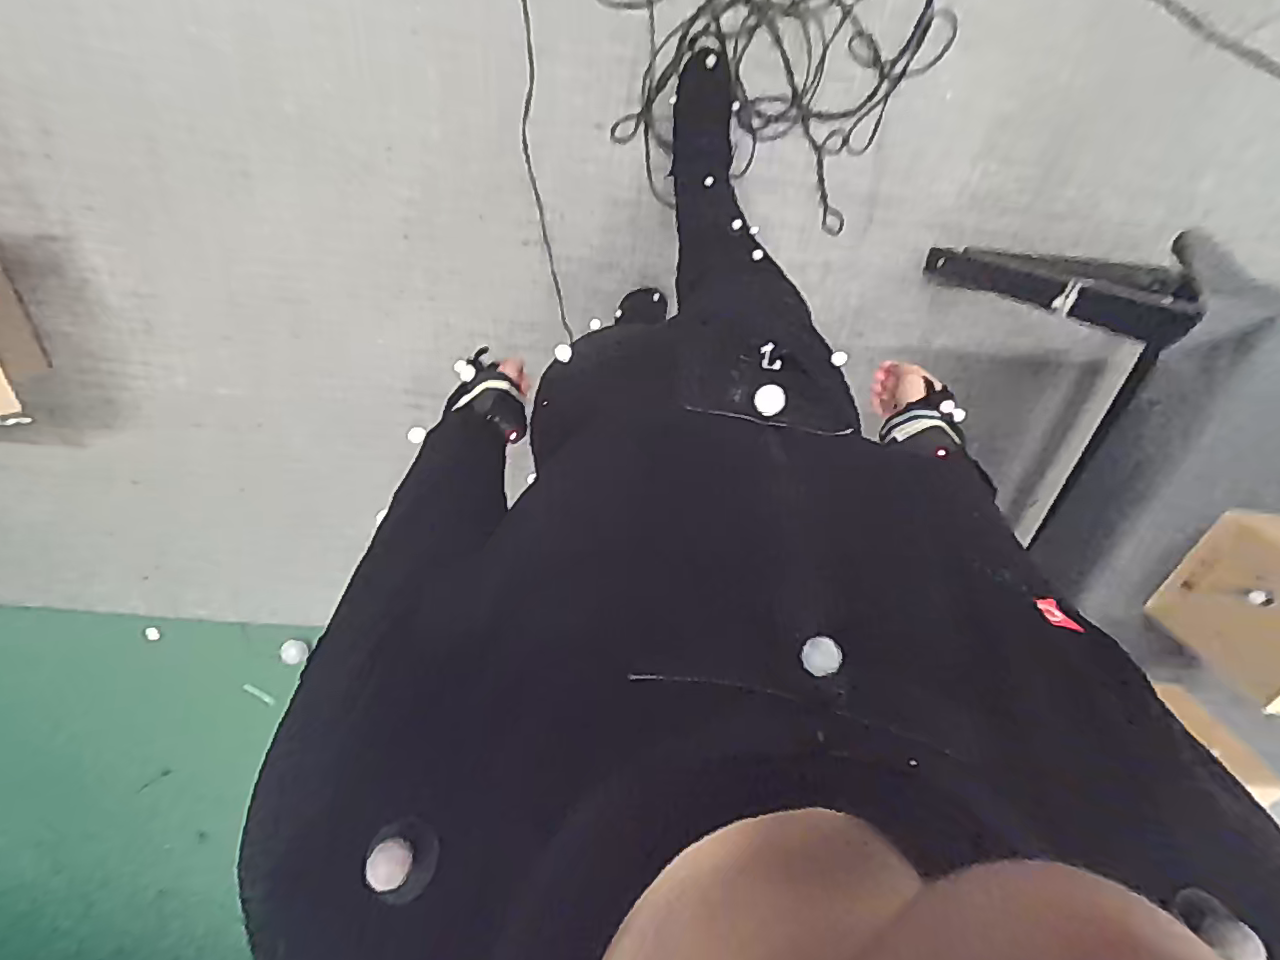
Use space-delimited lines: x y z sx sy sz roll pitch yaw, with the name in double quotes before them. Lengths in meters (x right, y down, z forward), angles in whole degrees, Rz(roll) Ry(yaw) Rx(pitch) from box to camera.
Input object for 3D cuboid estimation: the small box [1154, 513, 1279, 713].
"small box" 0.783 0.154 0.634 0.179 0.176 0.168 6 120 -7
